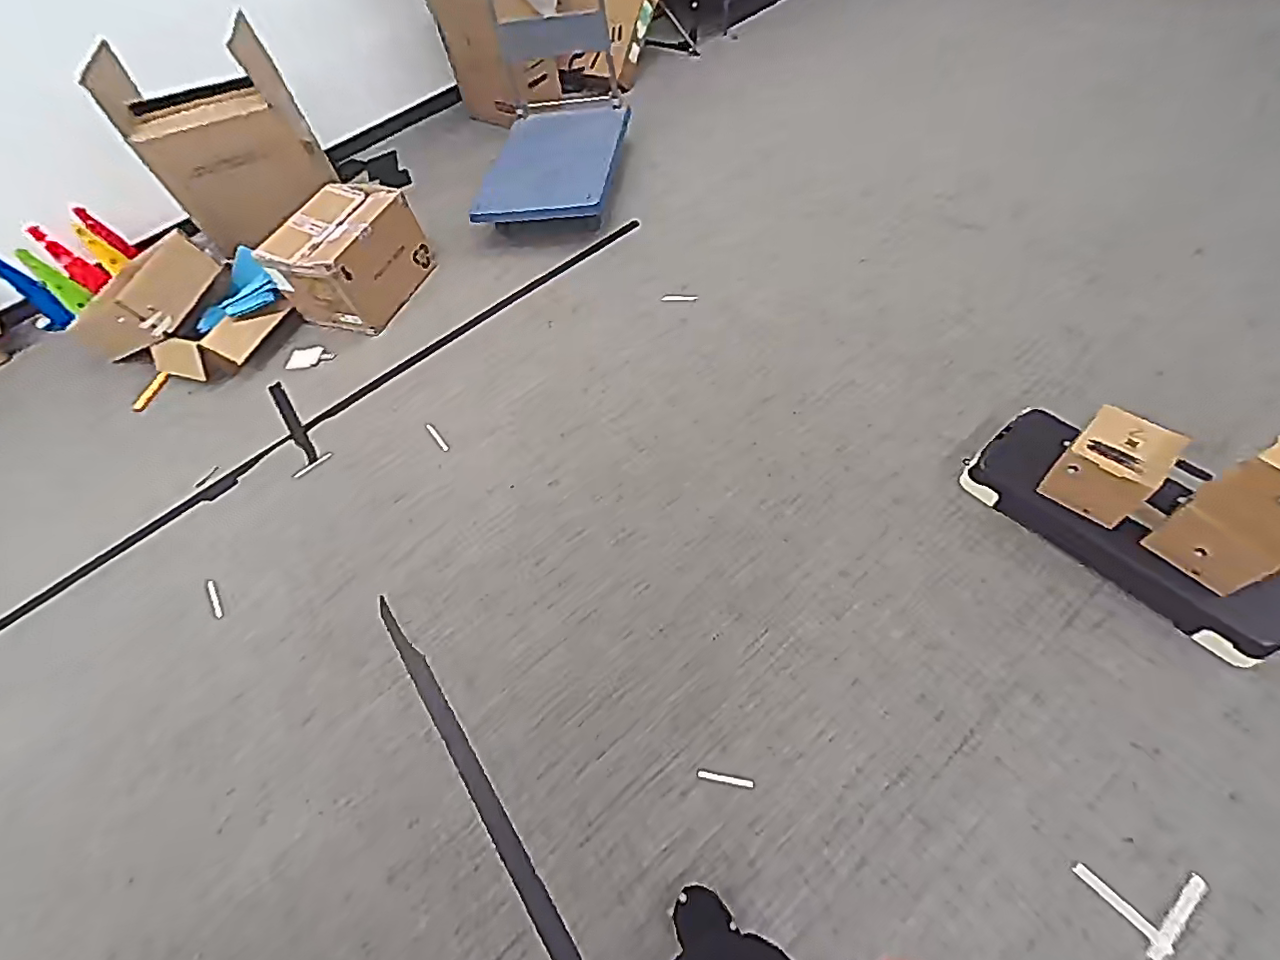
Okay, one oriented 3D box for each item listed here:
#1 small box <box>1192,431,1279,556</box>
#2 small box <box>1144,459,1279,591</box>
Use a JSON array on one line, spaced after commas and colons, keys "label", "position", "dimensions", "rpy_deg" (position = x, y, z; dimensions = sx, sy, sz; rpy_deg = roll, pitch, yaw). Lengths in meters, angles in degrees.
[{"label": "small box", "position": [1.188, 0.017, 0.975], "dimensions": [0.168, 0.176, 0.179], "rpy_deg": [-32, 56, -10]}, {"label": "small box", "position": [1.207, 0.098, 1.115], "dimensions": [0.179, 0.176, 0.168], "rpy_deg": [-34, 58, -12]}]
